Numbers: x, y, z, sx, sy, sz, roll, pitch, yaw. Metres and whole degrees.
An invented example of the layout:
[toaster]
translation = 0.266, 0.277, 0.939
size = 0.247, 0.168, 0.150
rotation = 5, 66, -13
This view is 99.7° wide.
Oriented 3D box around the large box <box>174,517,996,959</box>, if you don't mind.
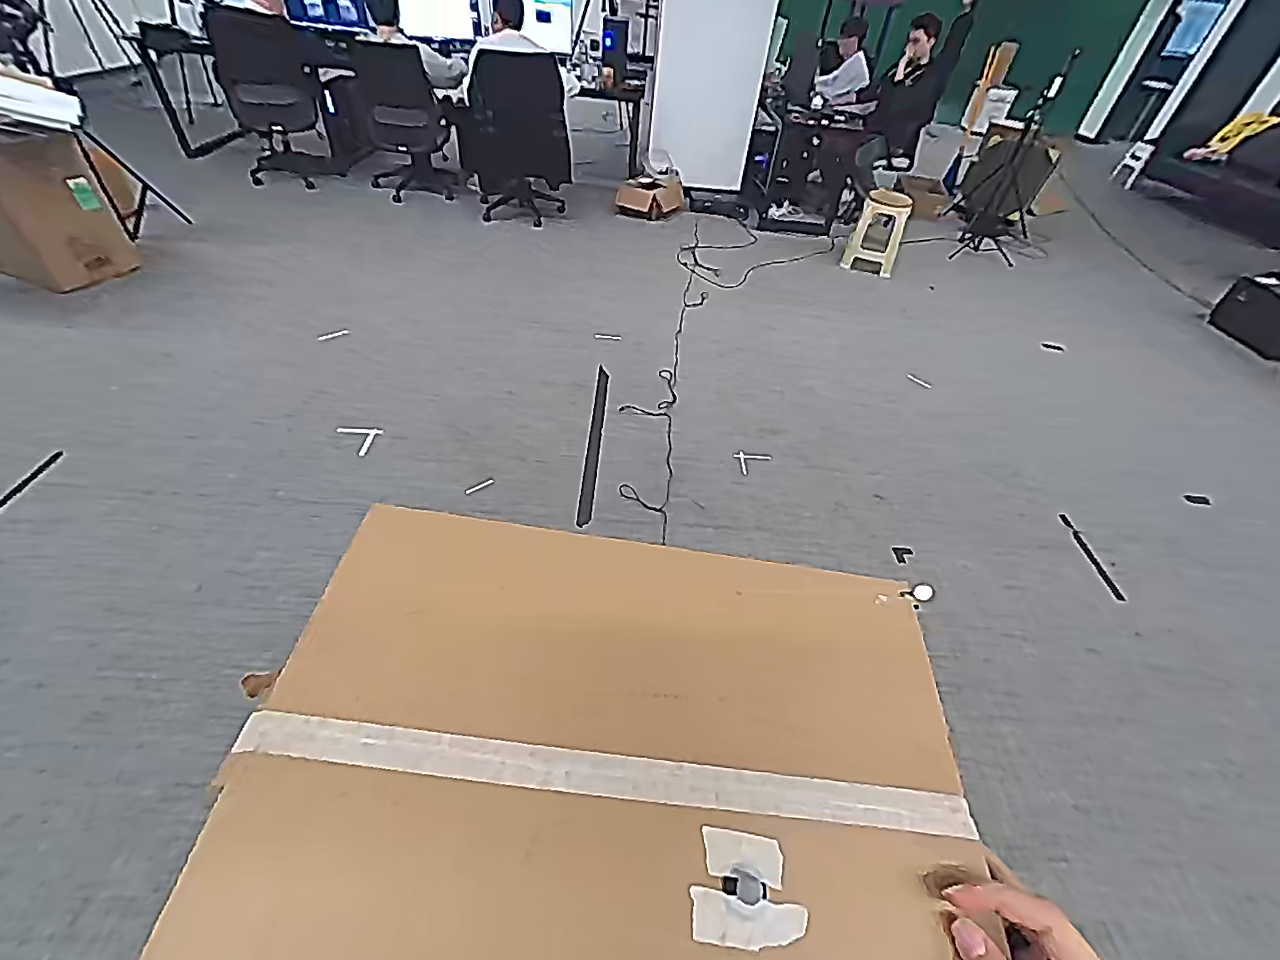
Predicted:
[large box]
translation = -0.027, 0.265, 0.427
size = 0.408, 0.320, 0.320
rotation = 10, 50, -3
